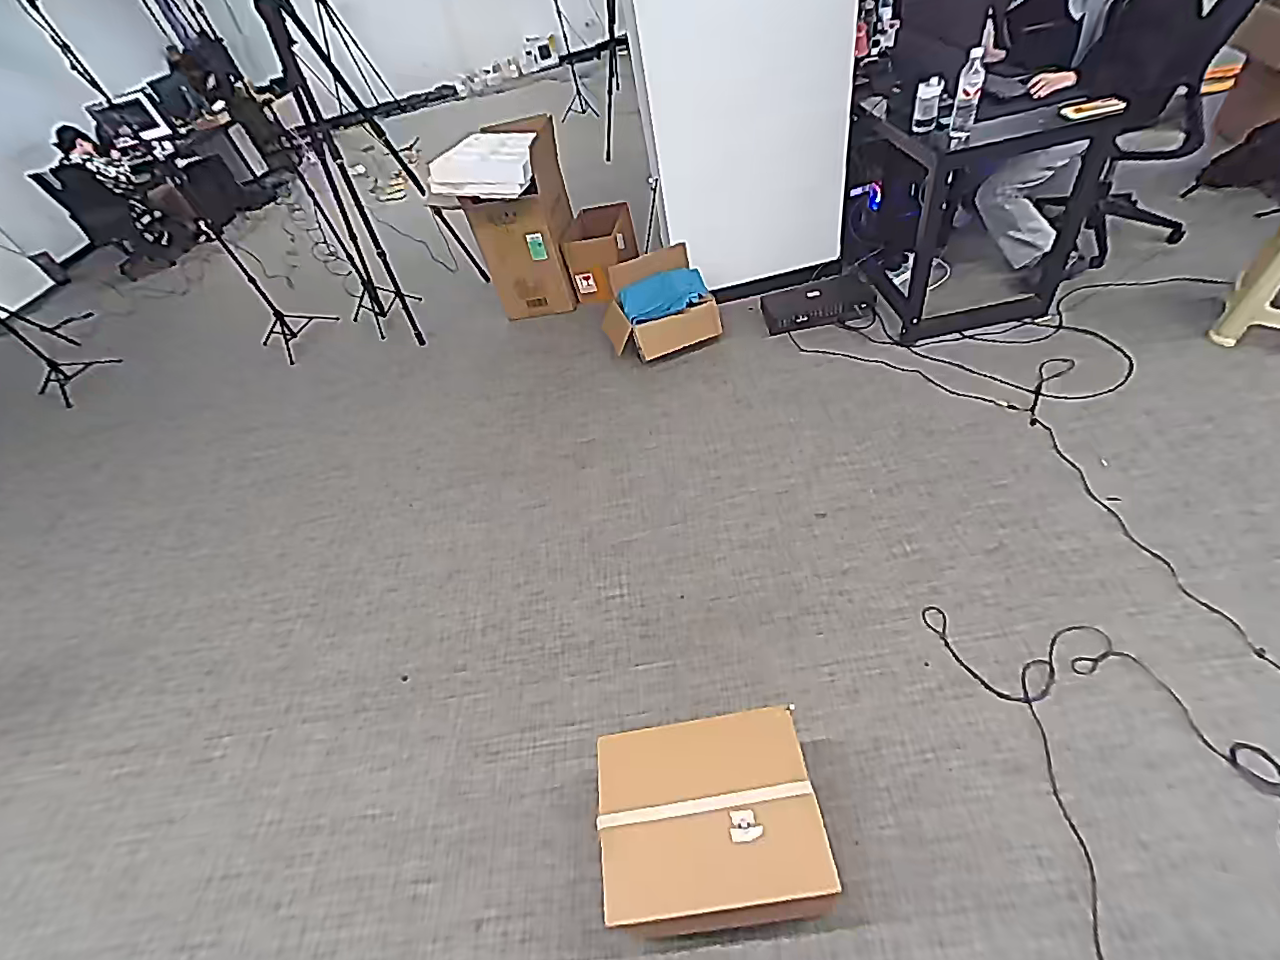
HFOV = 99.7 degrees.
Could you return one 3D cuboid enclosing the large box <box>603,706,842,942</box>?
[{"bbox_3d":[0.157,0.714,1.118,0.408,0.320,0.320,-12,45,4],"label":"large box"}]
